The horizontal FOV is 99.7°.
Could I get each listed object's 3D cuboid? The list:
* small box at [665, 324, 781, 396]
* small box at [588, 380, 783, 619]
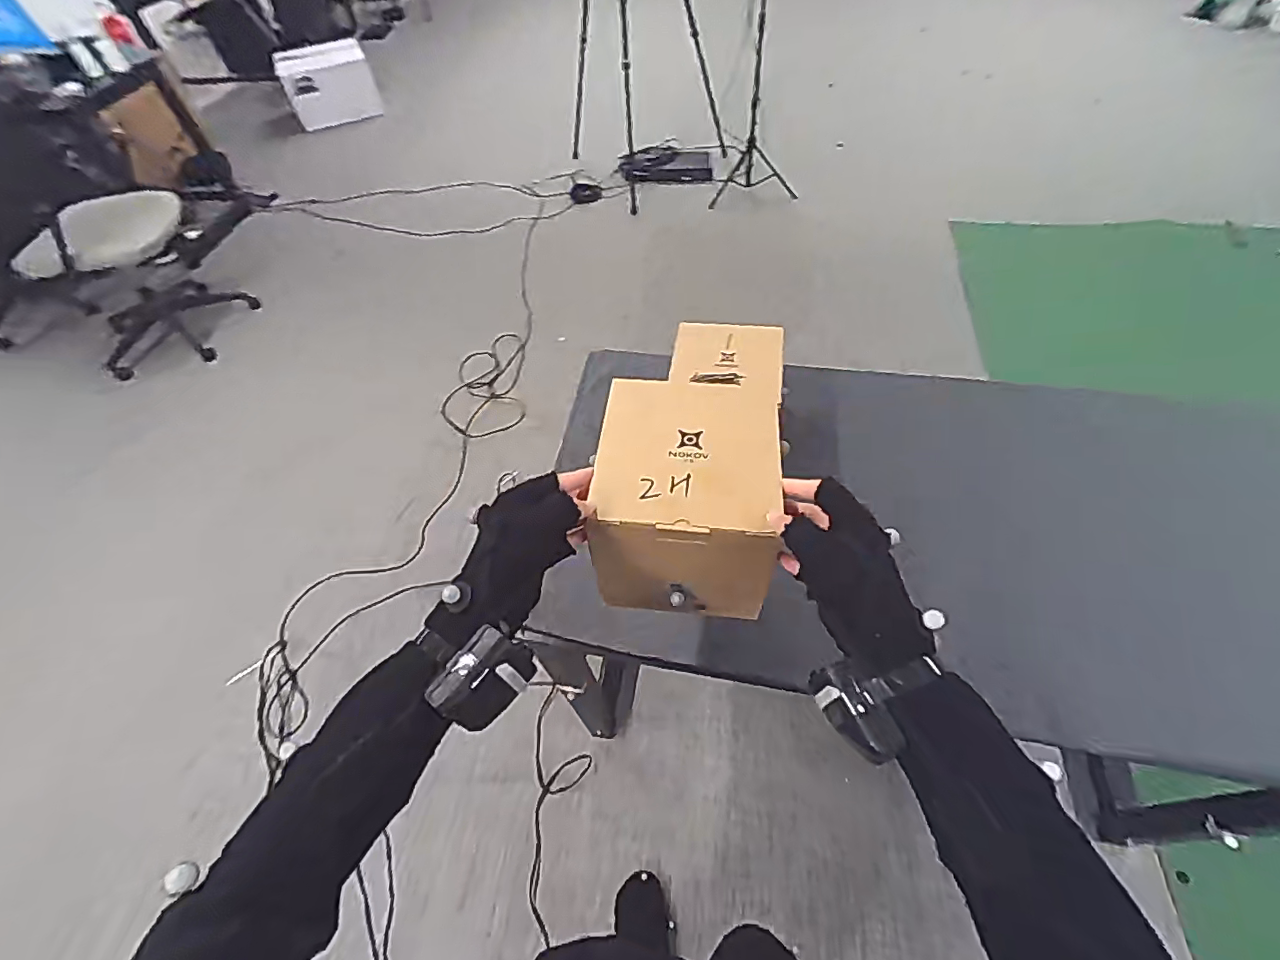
[{"bbox_3d":[0.132,-0.128,0.877,0.168,0.176,0.179,6,54,9],"label":"small box"},{"bbox_3d":[0.048,0.022,0.559,0.168,0.176,0.179,4,53,6],"label":"small box"}]
